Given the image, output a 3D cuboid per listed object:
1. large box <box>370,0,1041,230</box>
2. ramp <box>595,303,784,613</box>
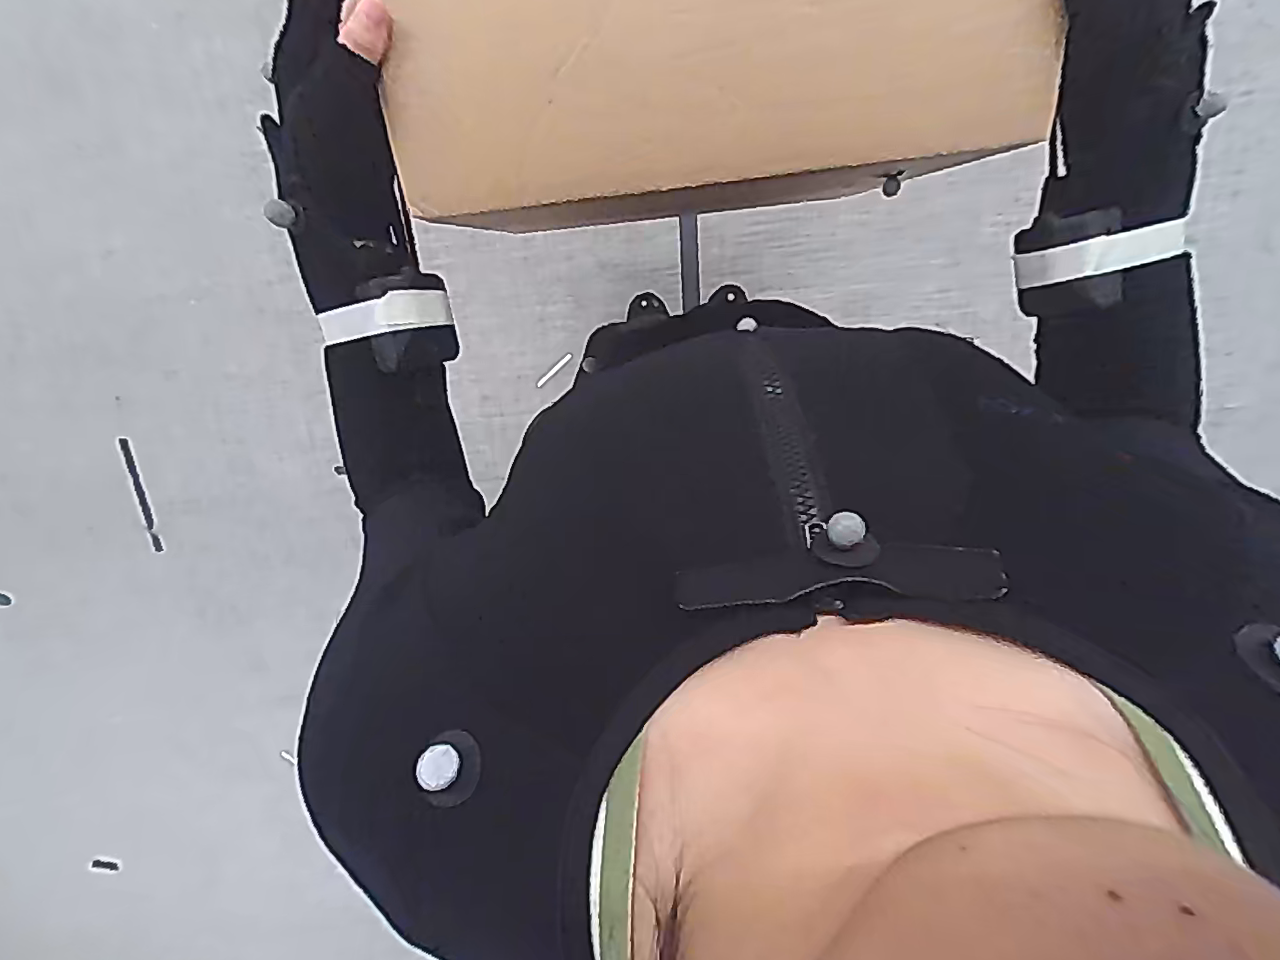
[{"bbox_3d":[0.034,-0.395,0.434,0.408,0.320,0.320,-6,112,2],"label":"large box"},{"bbox_3d":[0.171,0.001,1.614,0.509,0.206,0.991,-5,108,4],"label":"ramp"}]
